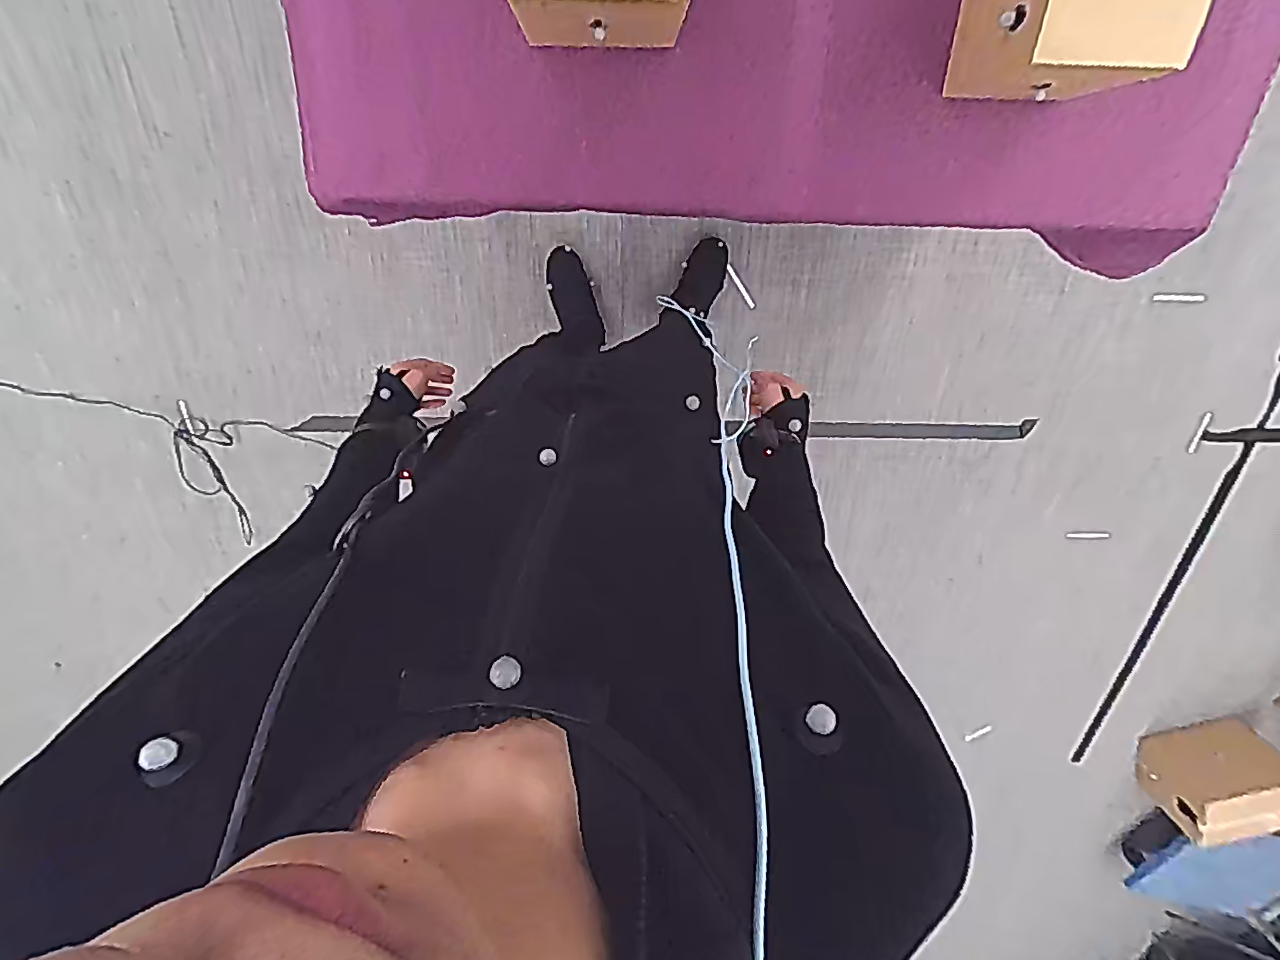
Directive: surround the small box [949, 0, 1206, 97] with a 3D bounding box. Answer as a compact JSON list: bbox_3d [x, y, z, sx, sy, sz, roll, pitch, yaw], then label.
[{"bbox_3d":[0.472,-0.534,0.586,0.168,0.176,0.179,0,116,-3],"label":"small box"}]
